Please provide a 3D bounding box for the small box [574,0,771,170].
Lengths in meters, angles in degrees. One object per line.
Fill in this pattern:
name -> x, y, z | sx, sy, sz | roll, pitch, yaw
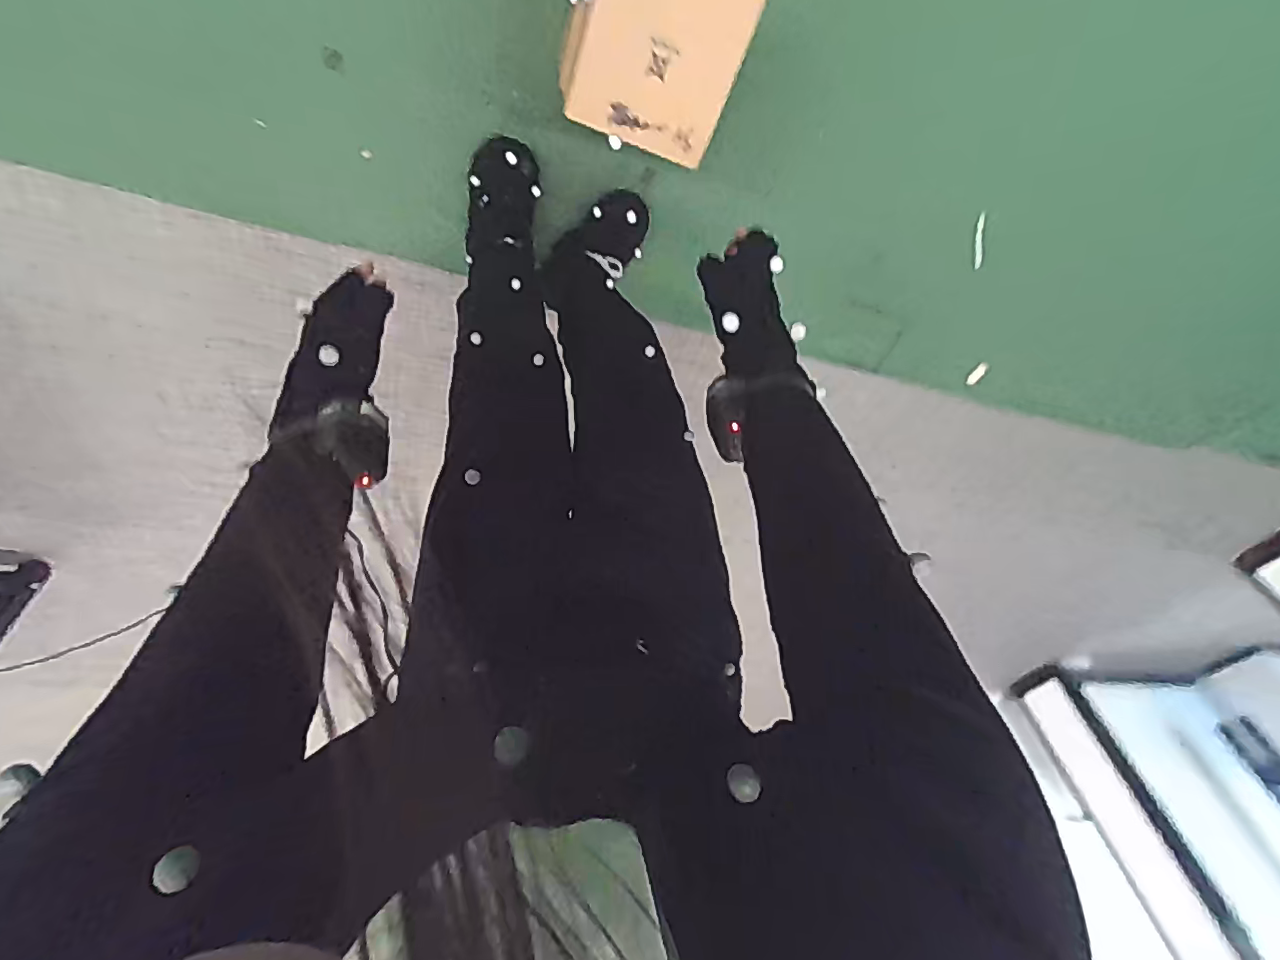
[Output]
small box -> 0.022, -0.508, 0.633 | 0.168, 0.176, 0.179 | 12, 132, -19
